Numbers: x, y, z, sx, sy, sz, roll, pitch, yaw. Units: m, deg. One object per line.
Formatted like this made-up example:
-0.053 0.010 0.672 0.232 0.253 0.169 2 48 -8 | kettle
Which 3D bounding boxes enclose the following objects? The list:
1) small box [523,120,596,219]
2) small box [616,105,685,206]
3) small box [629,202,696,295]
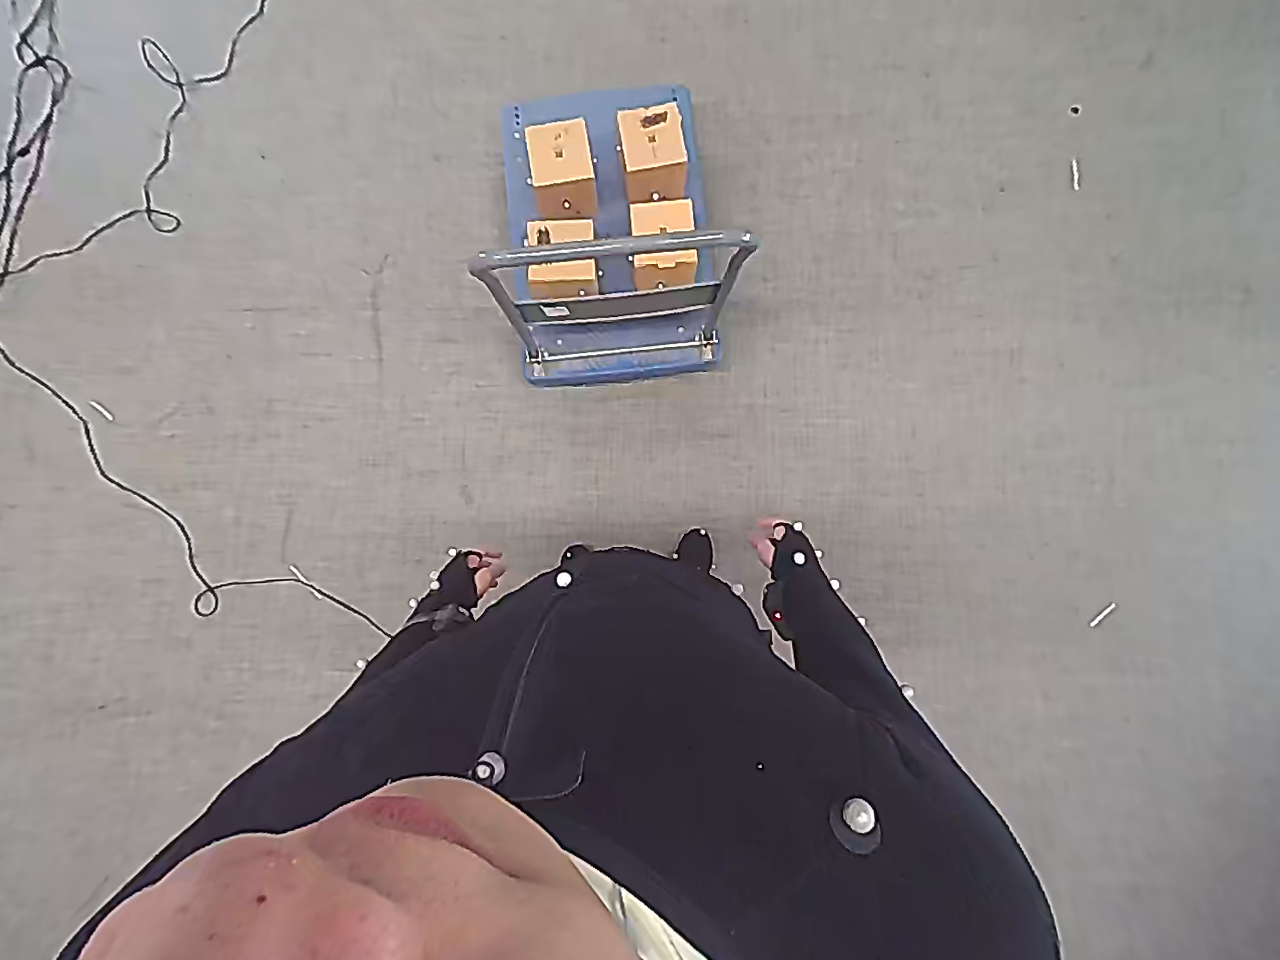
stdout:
-0.220 -0.855 1.512 0.168 0.176 0.179 -9 84 -1 | small box
0.028 -0.899 1.514 0.168 0.176 0.179 -9 85 0 | small box
0.056 -0.631 1.488 0.168 0.176 0.179 -5 84 0 | small box
